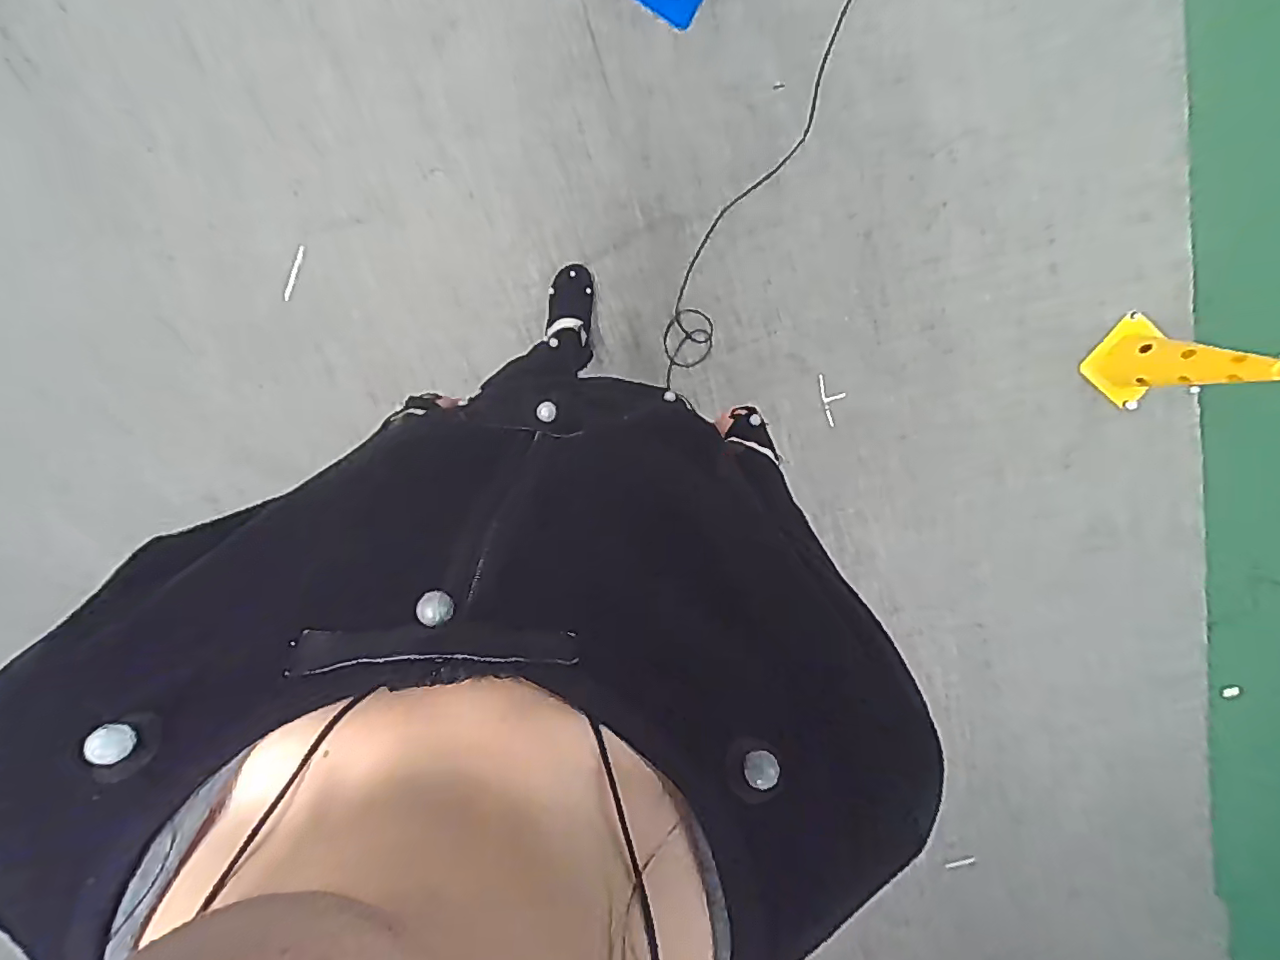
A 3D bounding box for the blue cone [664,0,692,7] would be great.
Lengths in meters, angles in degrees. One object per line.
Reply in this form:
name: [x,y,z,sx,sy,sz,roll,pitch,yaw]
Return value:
blue cone: [0.061,-1.103,1.003,0.193,0.380,0.192,27,104,-7]
